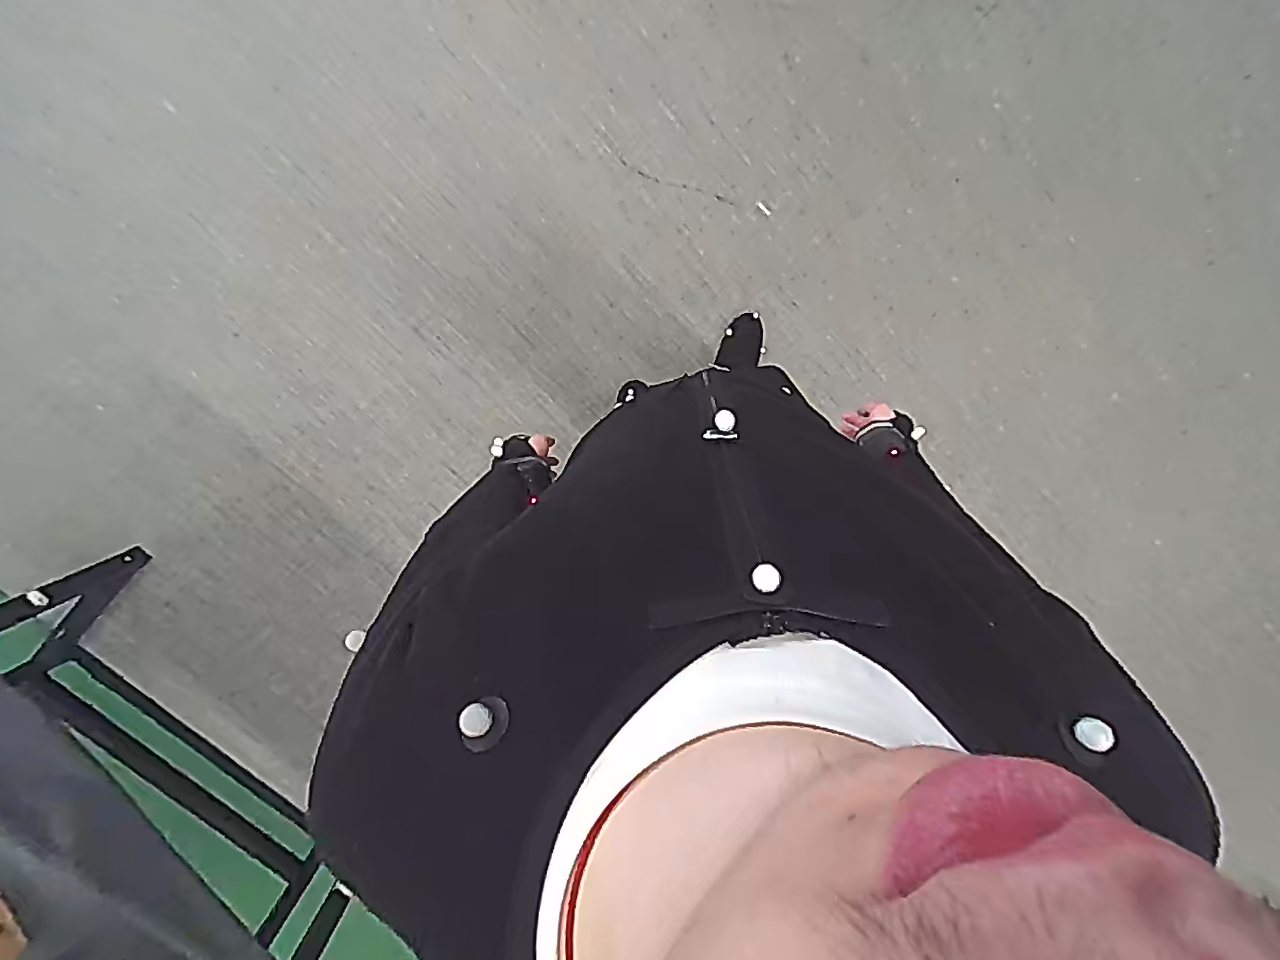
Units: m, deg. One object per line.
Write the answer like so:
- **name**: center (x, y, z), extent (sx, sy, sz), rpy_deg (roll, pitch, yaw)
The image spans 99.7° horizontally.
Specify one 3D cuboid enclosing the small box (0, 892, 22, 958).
- **small box**: center (-1.419, 0.930, 1.072), extent (0.168, 0.176, 0.179), rpy_deg (-9, 103, 4)
